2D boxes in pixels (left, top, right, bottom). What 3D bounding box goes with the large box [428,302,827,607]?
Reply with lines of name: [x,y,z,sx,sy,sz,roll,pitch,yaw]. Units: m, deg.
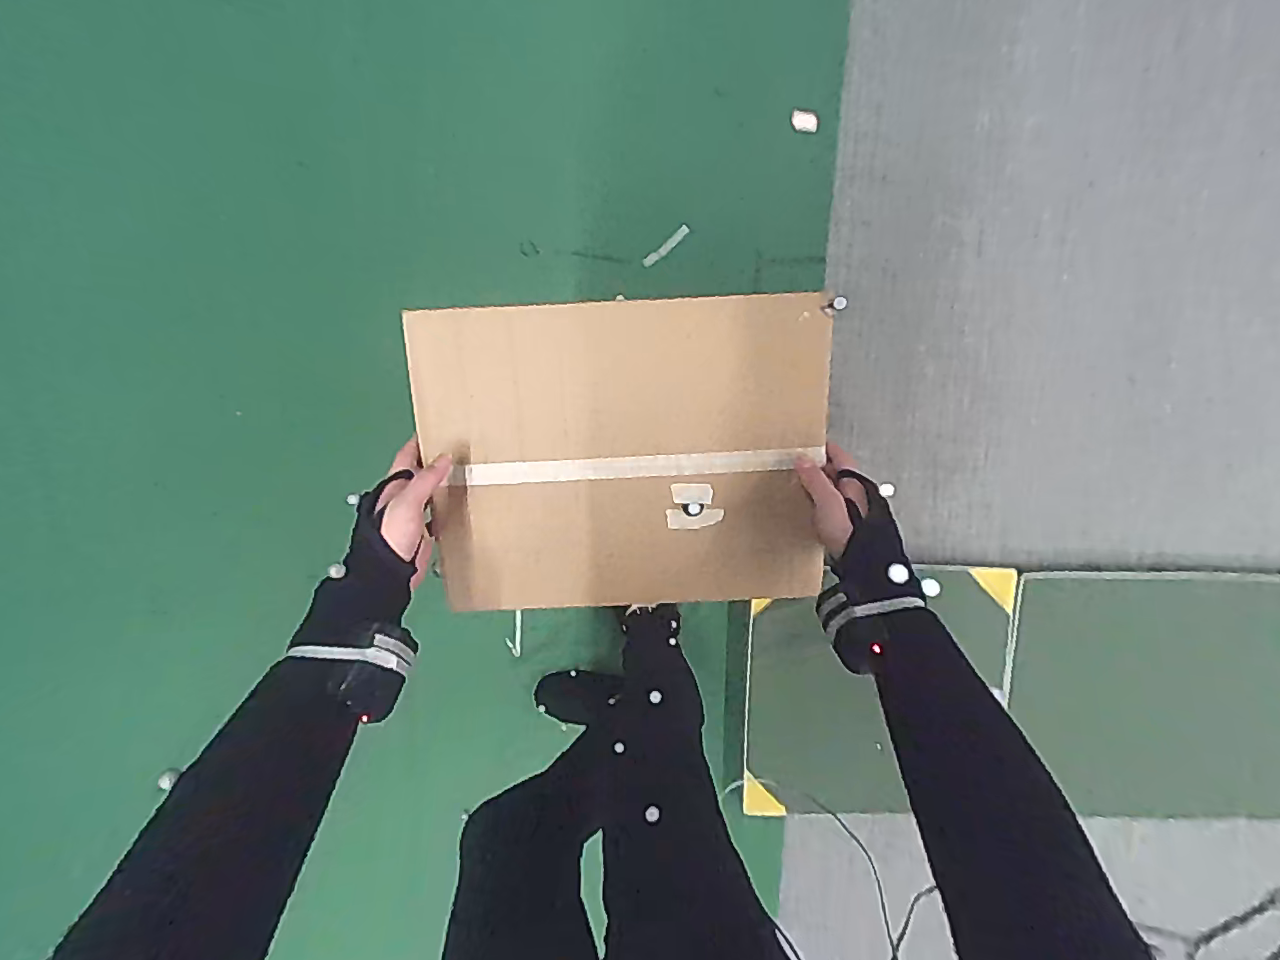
large box: [-0.010,-0.052,0.713,0.408,0.320,0.320,-2,105,-1]
